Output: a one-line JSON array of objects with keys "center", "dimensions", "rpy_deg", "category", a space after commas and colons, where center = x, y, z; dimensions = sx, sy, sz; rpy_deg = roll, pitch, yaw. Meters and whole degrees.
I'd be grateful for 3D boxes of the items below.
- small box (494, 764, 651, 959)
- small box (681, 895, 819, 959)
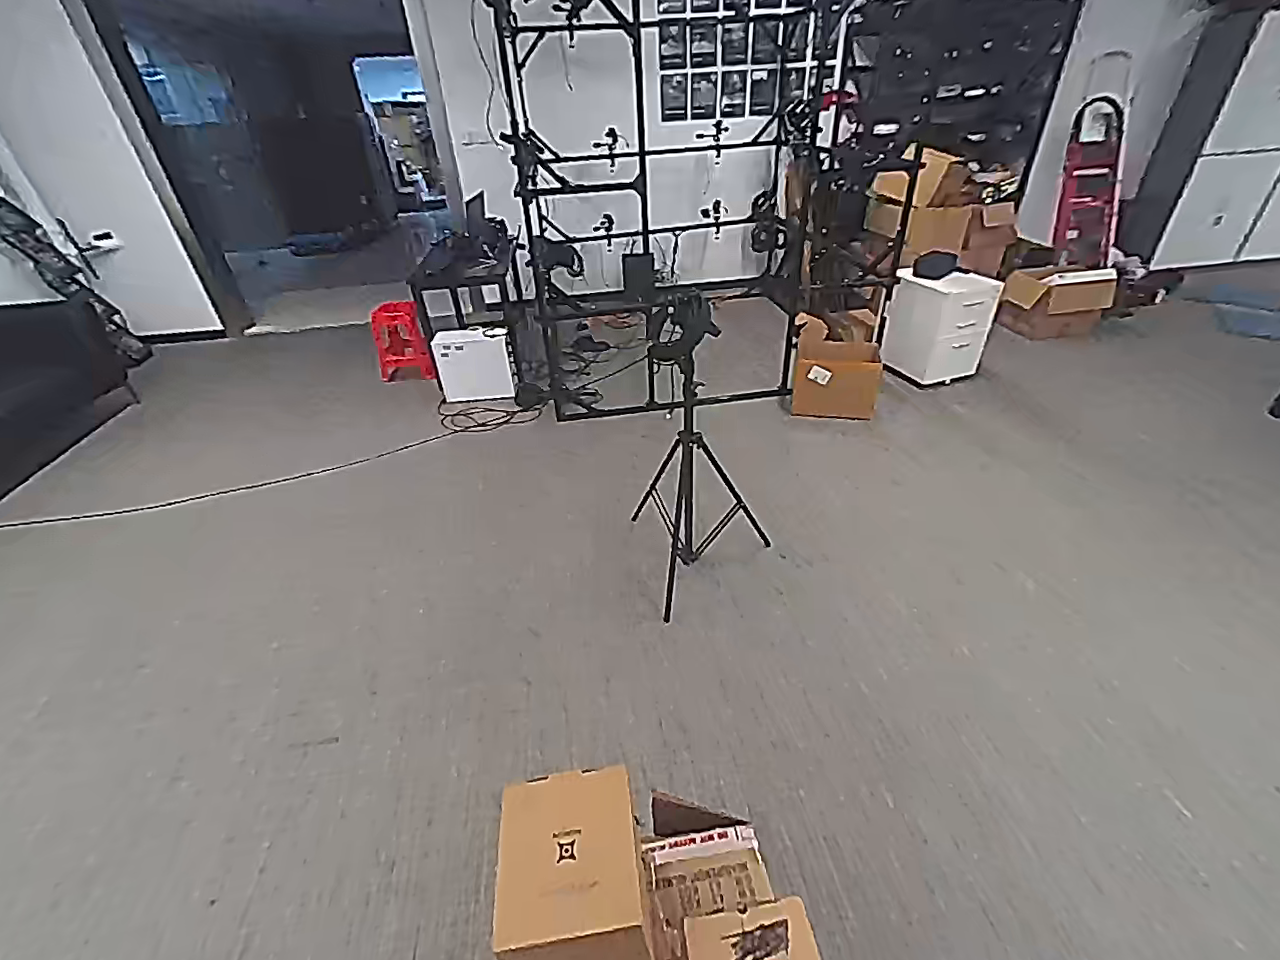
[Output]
[{"center": [-0.081, 0.504, 0.695], "dimensions": [0.168, 0.176, 0.179], "rpy_deg": [-9, 37, -4], "category": "small box"}, {"center": [0.149, 0.686, 0.703], "dimensions": [0.168, 0.176, 0.179], "rpy_deg": [-7, 37, -6], "category": "small box"}]
